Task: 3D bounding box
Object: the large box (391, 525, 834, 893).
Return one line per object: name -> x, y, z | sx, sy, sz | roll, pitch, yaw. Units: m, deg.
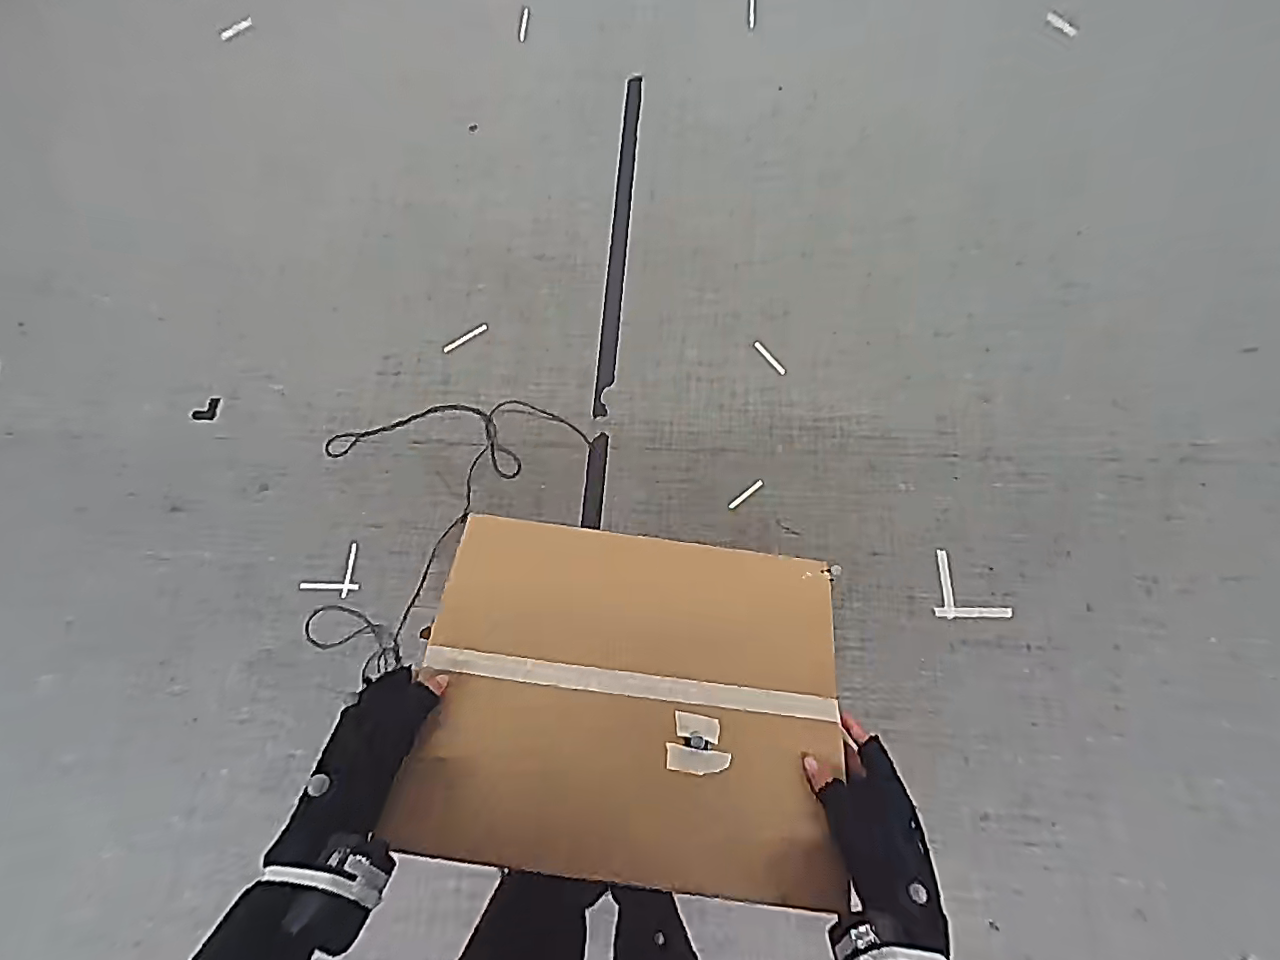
large box -> -0.020, 0.281, 0.677 | 0.408, 0.320, 0.320 | 8, 61, 0
